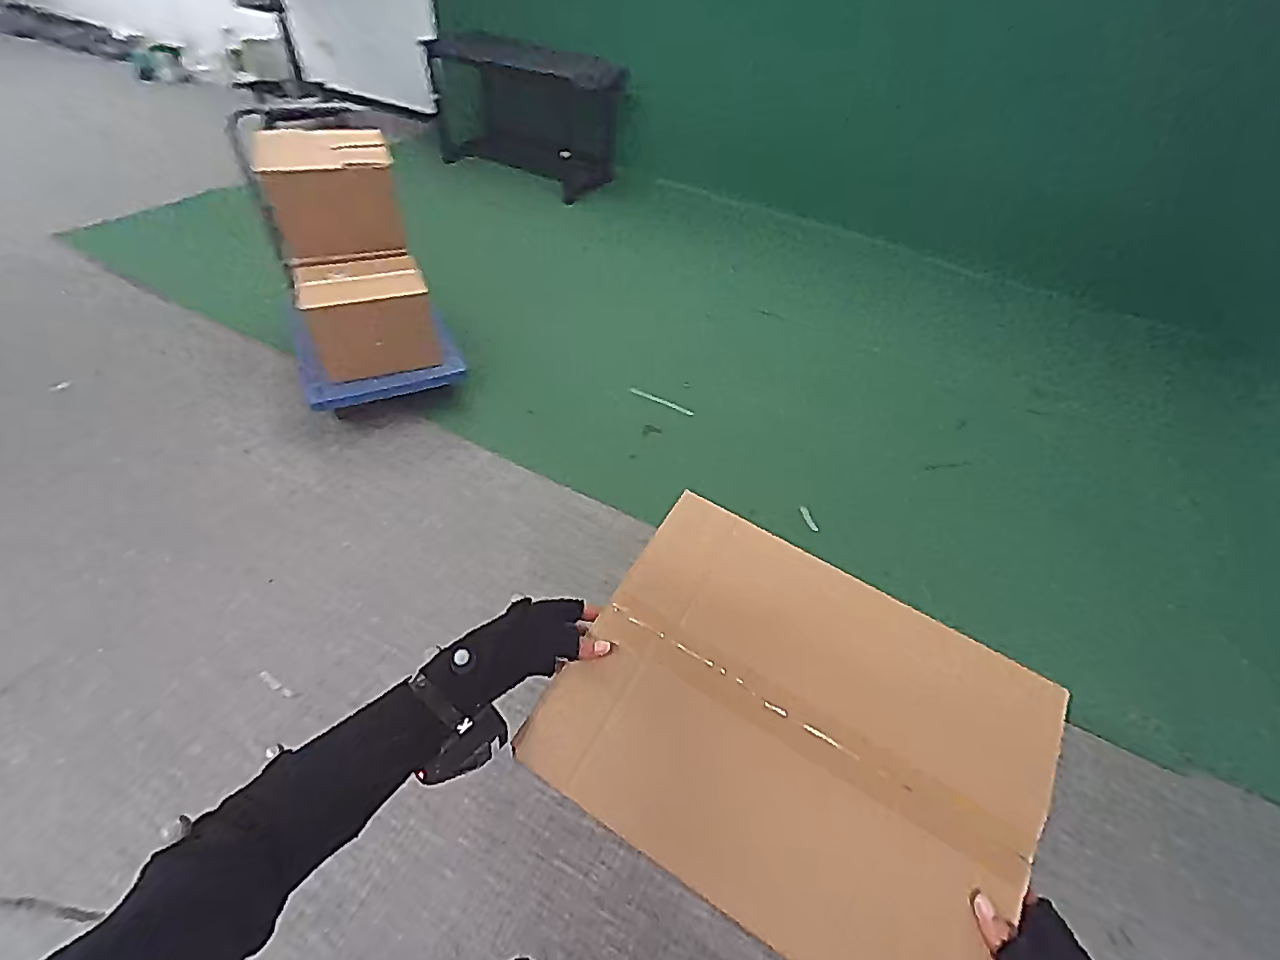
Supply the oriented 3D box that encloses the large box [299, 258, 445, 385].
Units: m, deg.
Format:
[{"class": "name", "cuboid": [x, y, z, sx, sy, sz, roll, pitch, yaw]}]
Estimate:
[{"class": "large box", "cuboid": [-0.999, -0.601, 2.039, 0.408, 0.320, 0.320, -17, 50, -20]}]
